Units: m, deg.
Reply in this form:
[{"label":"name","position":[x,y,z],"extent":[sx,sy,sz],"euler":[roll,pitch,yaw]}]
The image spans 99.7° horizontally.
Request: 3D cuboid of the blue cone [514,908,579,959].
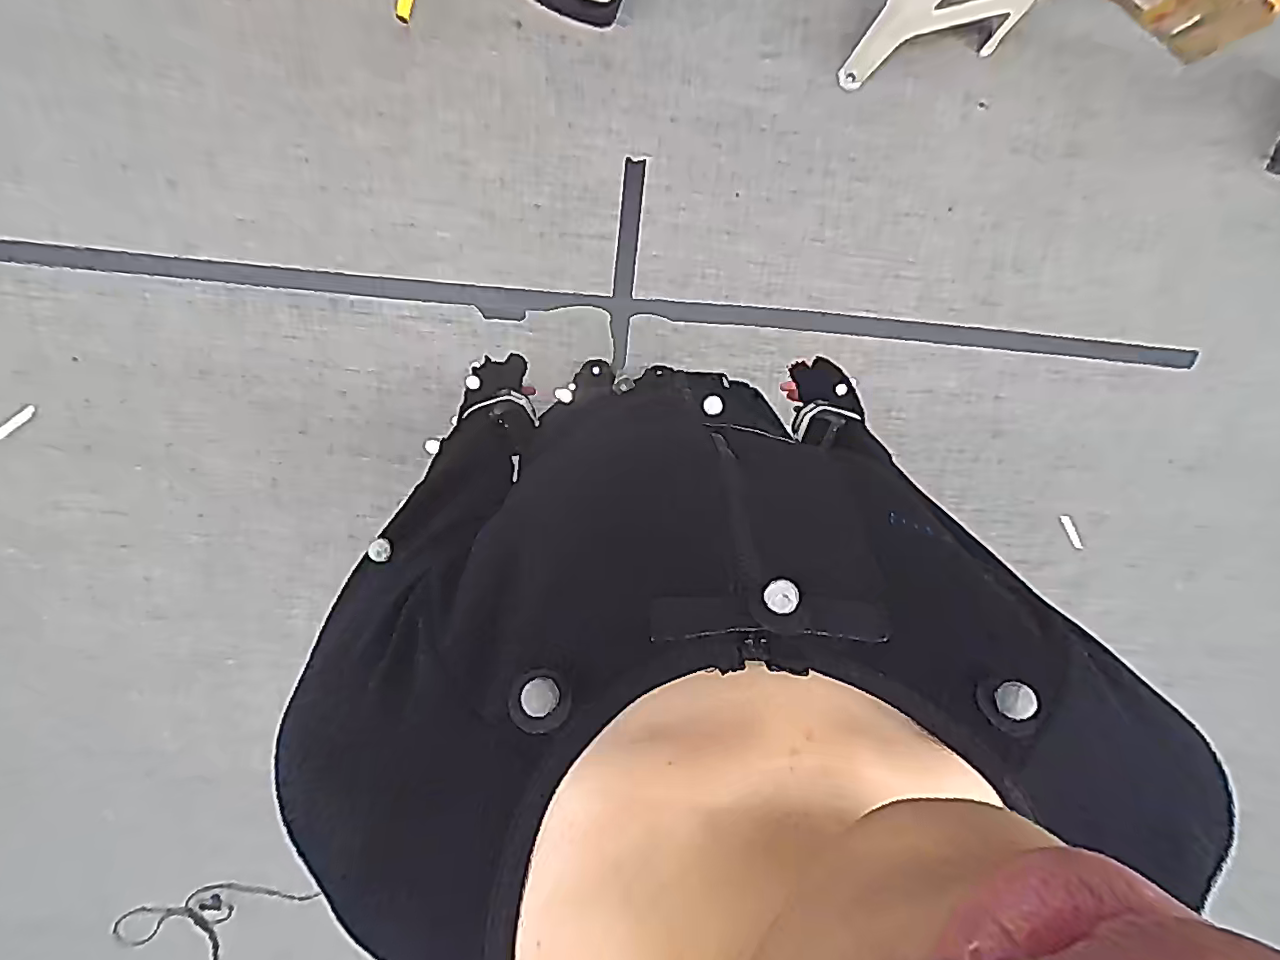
[{"label":"blue cone","position":[-0.305,1.570,1.668],"extent":[0.192,0.380,0.193],"euler":[21,101,-9]}]
